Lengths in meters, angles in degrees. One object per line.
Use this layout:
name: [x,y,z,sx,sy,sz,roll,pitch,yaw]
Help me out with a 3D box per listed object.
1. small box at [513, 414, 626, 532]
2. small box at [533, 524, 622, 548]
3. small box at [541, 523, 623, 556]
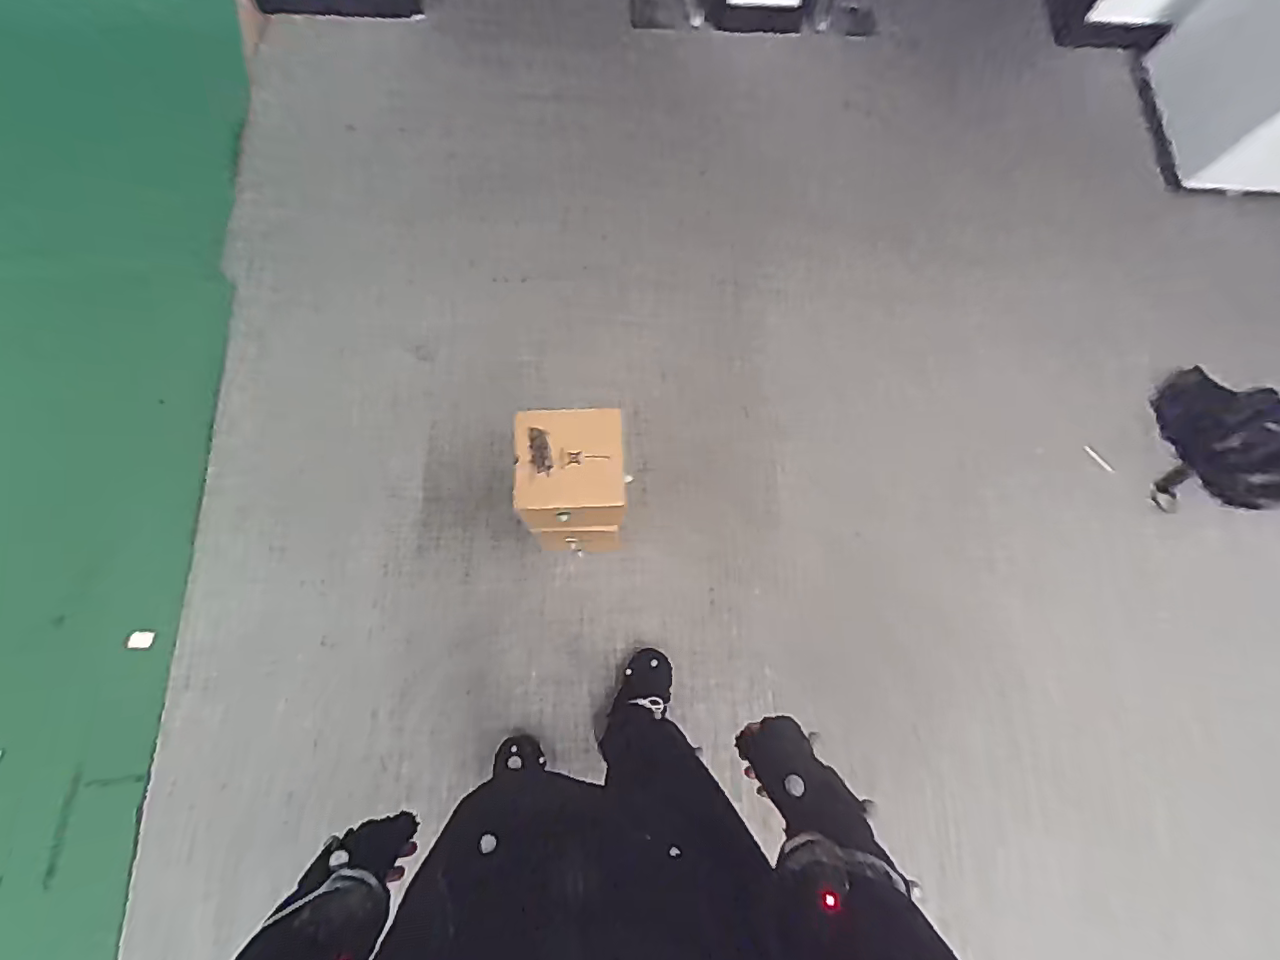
small box: [-0.115,-0.006,0.939,0.179,0.176,0.168,-2,75,-3]
small box: [-0.120,0.039,1.097,0.168,0.176,0.179,-1,76,-1]
small box: [-0.129,0.083,1.253,0.179,0.176,0.168,1,75,-3]
